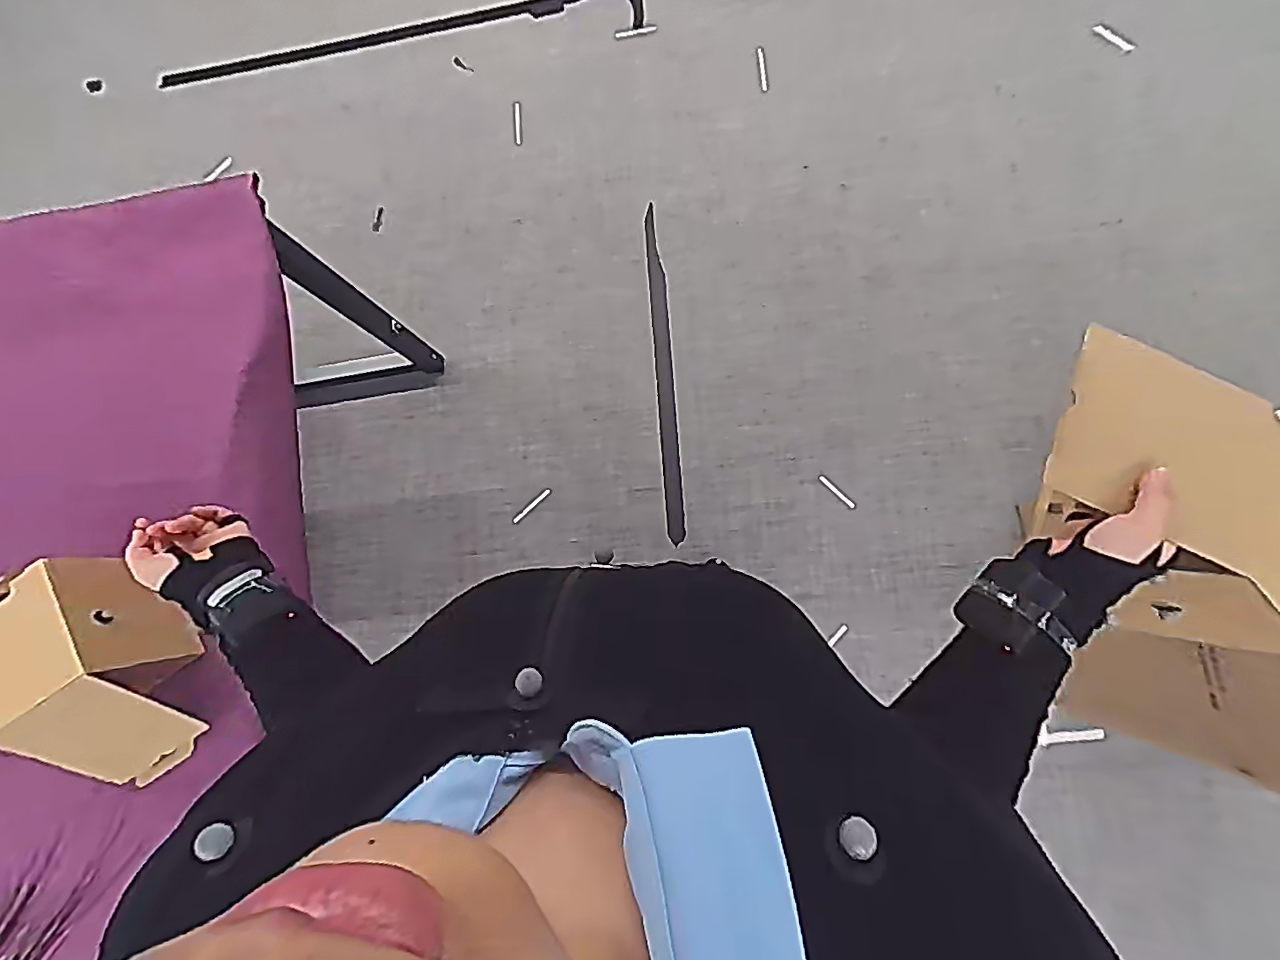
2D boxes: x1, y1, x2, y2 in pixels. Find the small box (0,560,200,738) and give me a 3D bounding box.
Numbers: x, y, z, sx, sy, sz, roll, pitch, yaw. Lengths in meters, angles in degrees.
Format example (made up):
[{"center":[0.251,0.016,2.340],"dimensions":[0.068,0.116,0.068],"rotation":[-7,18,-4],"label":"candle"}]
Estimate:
[{"center":[-0.796,0.230,0.781],"dimensions":[0.168,0.176,0.179],"rotation":[-33,78,1],"label":"small box"}]
